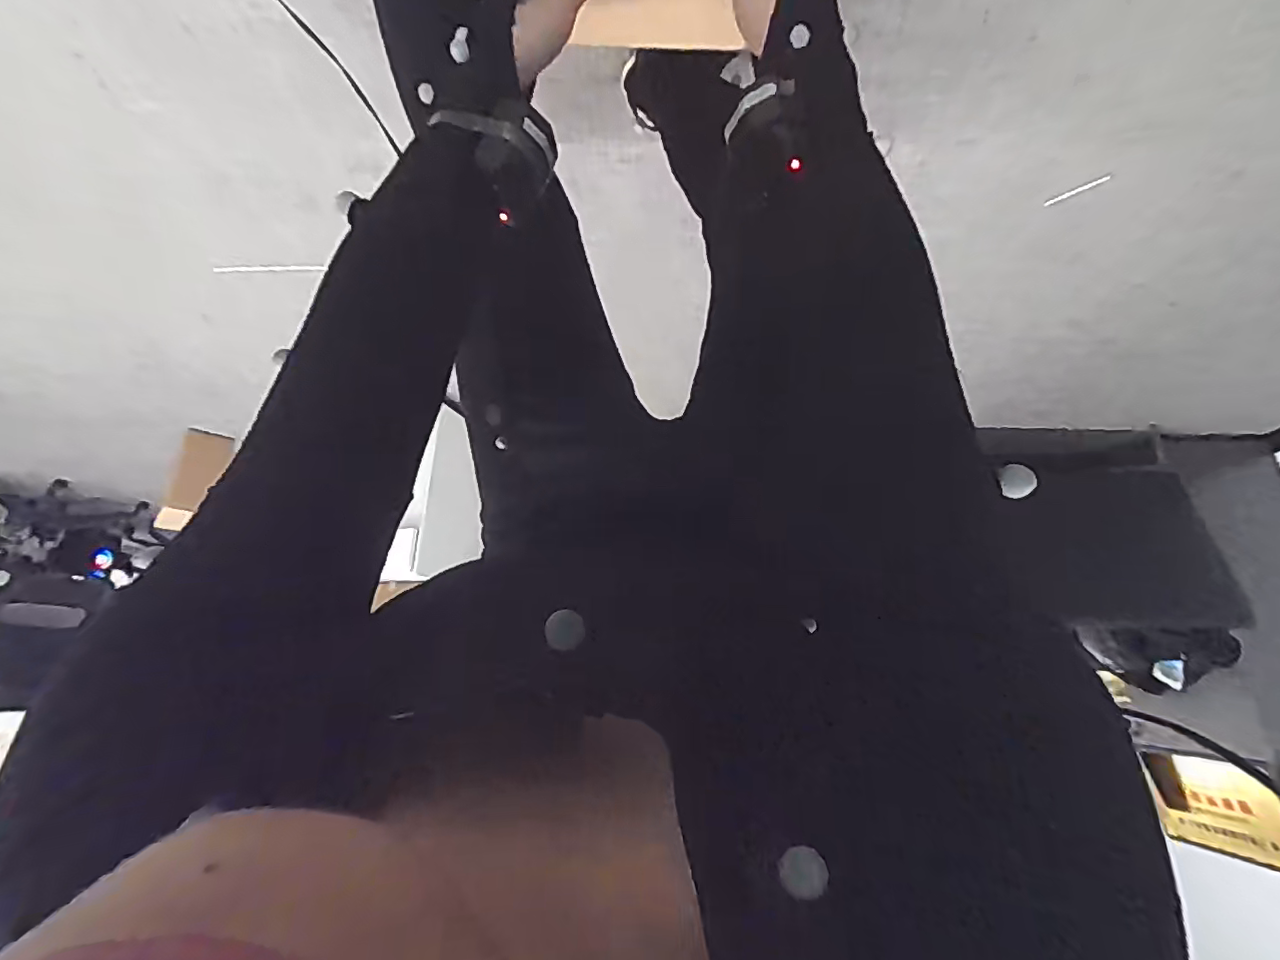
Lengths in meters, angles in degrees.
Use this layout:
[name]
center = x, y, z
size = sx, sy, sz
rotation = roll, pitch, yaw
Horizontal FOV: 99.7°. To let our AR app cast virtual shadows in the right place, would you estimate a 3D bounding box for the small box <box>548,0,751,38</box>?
[small box]
center = 0.009, -0.504, 0.439
size = 0.179, 0.176, 0.168
rotation = 1, 158, 0
